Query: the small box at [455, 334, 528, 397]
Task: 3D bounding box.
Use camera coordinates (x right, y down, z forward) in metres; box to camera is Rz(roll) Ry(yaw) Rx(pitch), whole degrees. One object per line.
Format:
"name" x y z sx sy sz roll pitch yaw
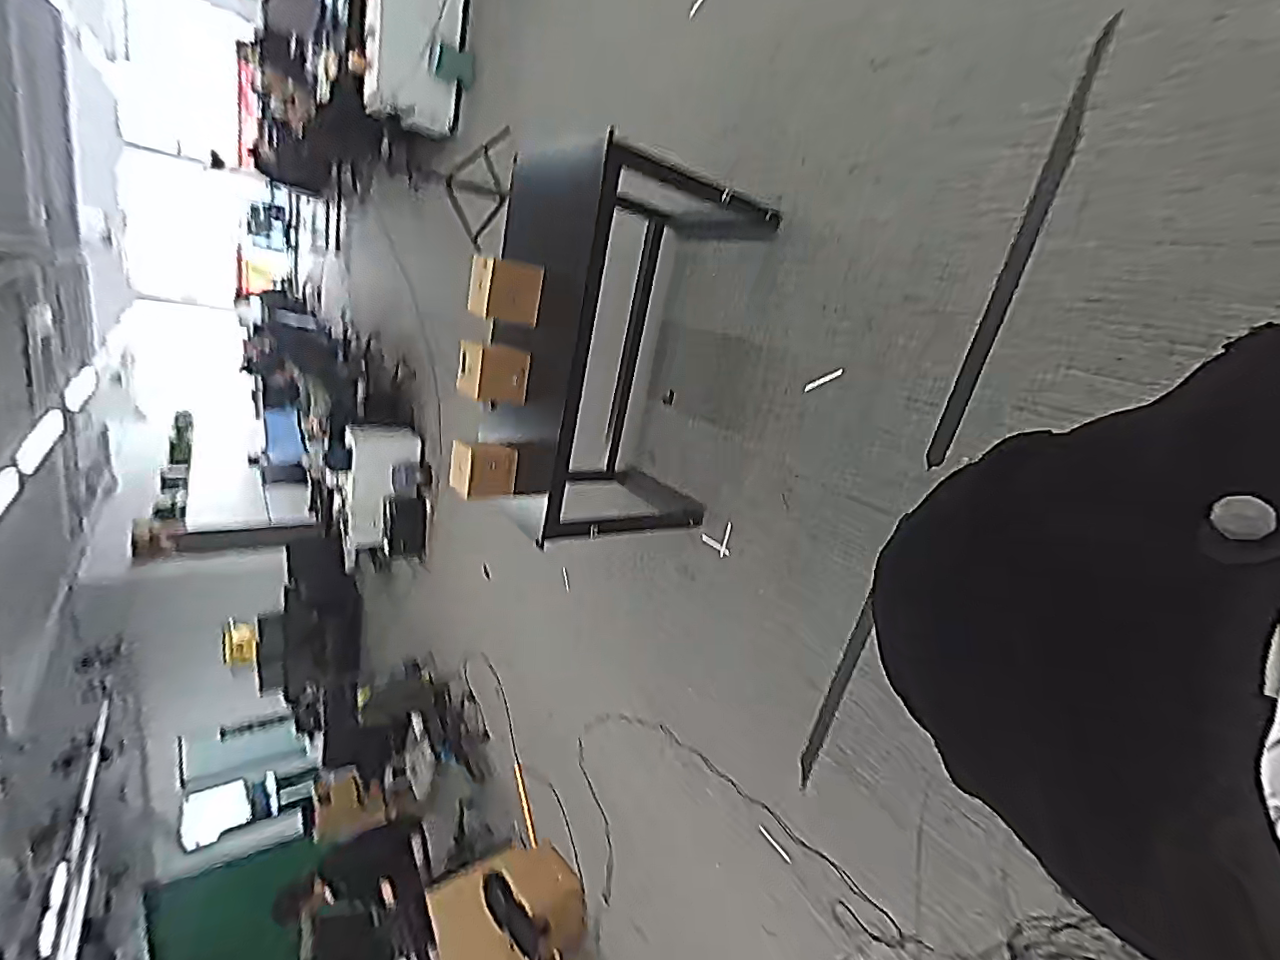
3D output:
"small box" -0.488 -0.371 1.772 0.179 0.176 0.168 30 114 47

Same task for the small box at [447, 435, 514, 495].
"small box" -0.547 -0.055 1.858 0.179 0.176 0.168 27 110 49

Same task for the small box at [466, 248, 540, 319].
"small box" -0.428 -0.611 1.691 0.168 0.176 0.179 34 118 46
